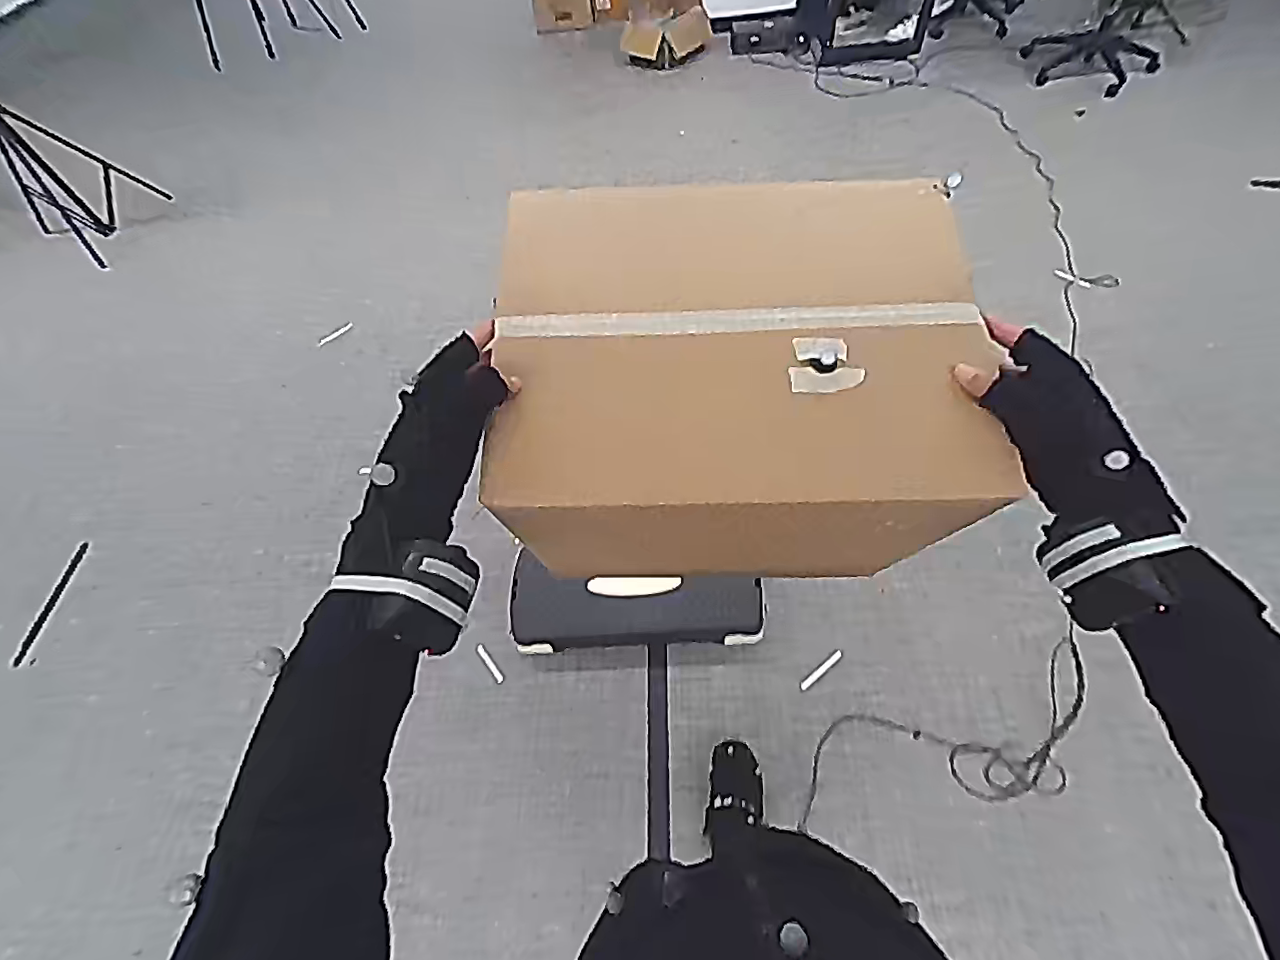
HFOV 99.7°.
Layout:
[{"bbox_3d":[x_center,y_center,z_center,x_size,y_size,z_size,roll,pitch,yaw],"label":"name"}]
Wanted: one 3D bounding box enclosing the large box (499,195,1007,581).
[{"bbox_3d":[0.084,-0.073,0.608,0.408,0.320,0.320,-1,70,1],"label":"large box"}]
